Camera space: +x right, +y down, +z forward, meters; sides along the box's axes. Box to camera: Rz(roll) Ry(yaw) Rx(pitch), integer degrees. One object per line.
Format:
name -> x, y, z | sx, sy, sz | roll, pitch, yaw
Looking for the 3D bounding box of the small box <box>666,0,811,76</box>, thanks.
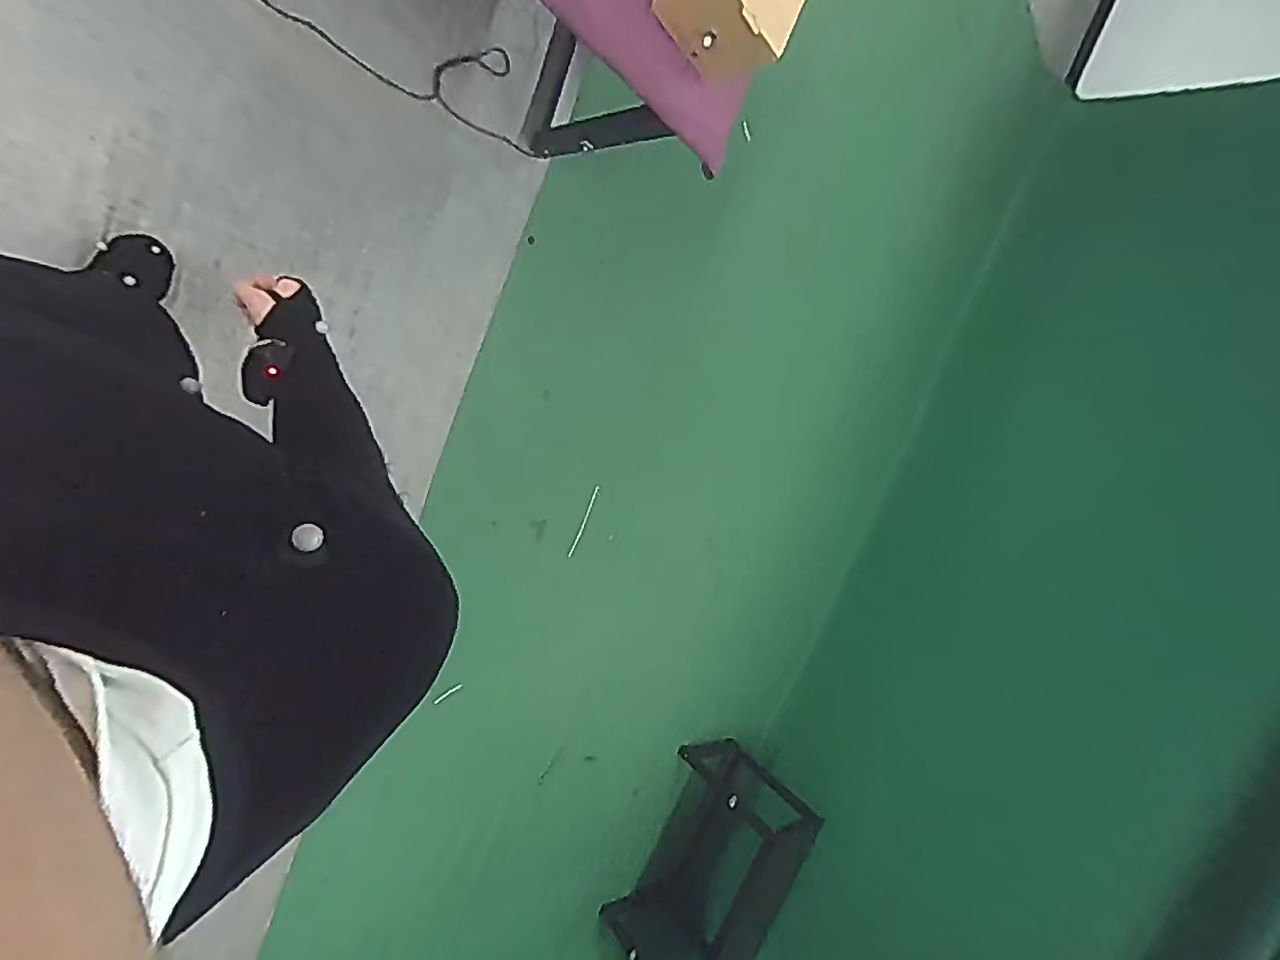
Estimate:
small box -> 0.164, -0.813, 0.885 | 0.168, 0.176, 0.179 | 22, 94, -45
